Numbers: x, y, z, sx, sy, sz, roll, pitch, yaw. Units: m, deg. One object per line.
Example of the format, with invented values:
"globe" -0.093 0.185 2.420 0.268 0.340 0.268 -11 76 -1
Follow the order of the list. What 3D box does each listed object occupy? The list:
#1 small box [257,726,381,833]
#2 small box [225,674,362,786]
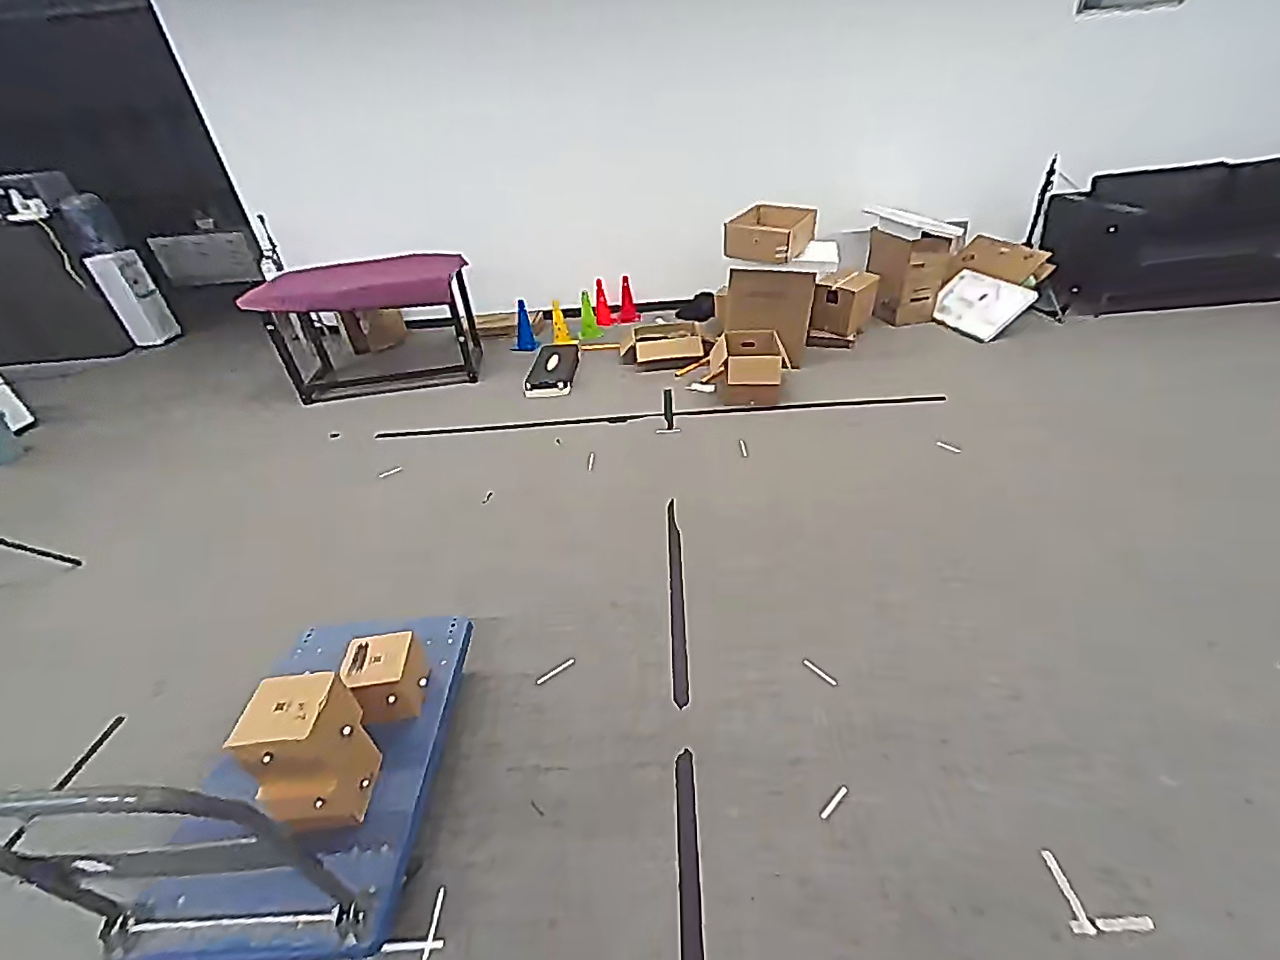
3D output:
"small box" -0.757 0.719 1.297 0.179 0.176 0.168 -6 35 -2
"small box" -0.771 0.569 1.225 0.179 0.176 0.168 -6 35 -1
